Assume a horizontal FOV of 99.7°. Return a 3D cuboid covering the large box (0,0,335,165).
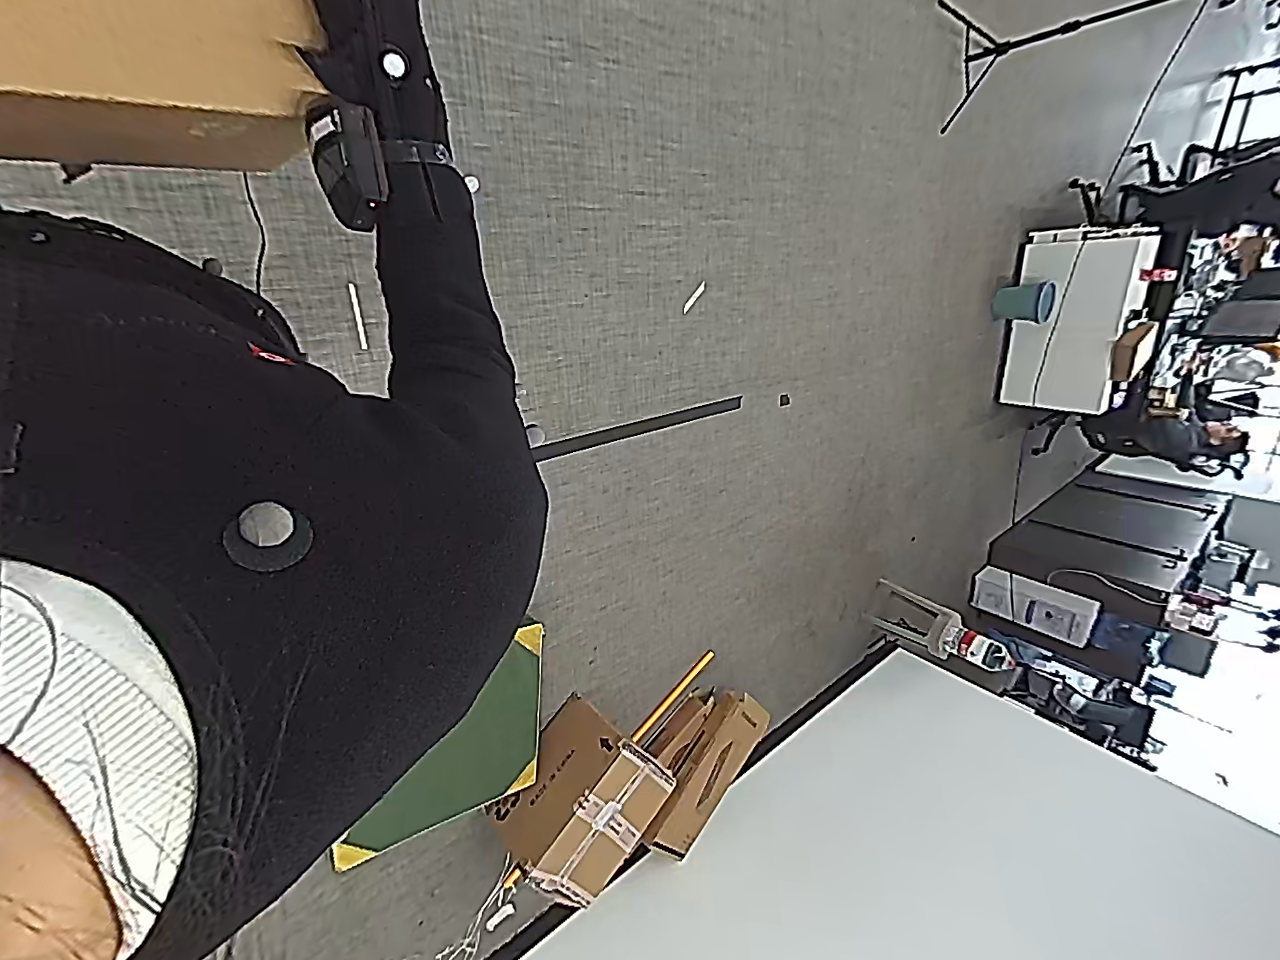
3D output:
[{"bbox_3d":[-0.465,-0.378,0.307,0.408,0.320,0.320,-21,121,-36],"label":"large box"}]
